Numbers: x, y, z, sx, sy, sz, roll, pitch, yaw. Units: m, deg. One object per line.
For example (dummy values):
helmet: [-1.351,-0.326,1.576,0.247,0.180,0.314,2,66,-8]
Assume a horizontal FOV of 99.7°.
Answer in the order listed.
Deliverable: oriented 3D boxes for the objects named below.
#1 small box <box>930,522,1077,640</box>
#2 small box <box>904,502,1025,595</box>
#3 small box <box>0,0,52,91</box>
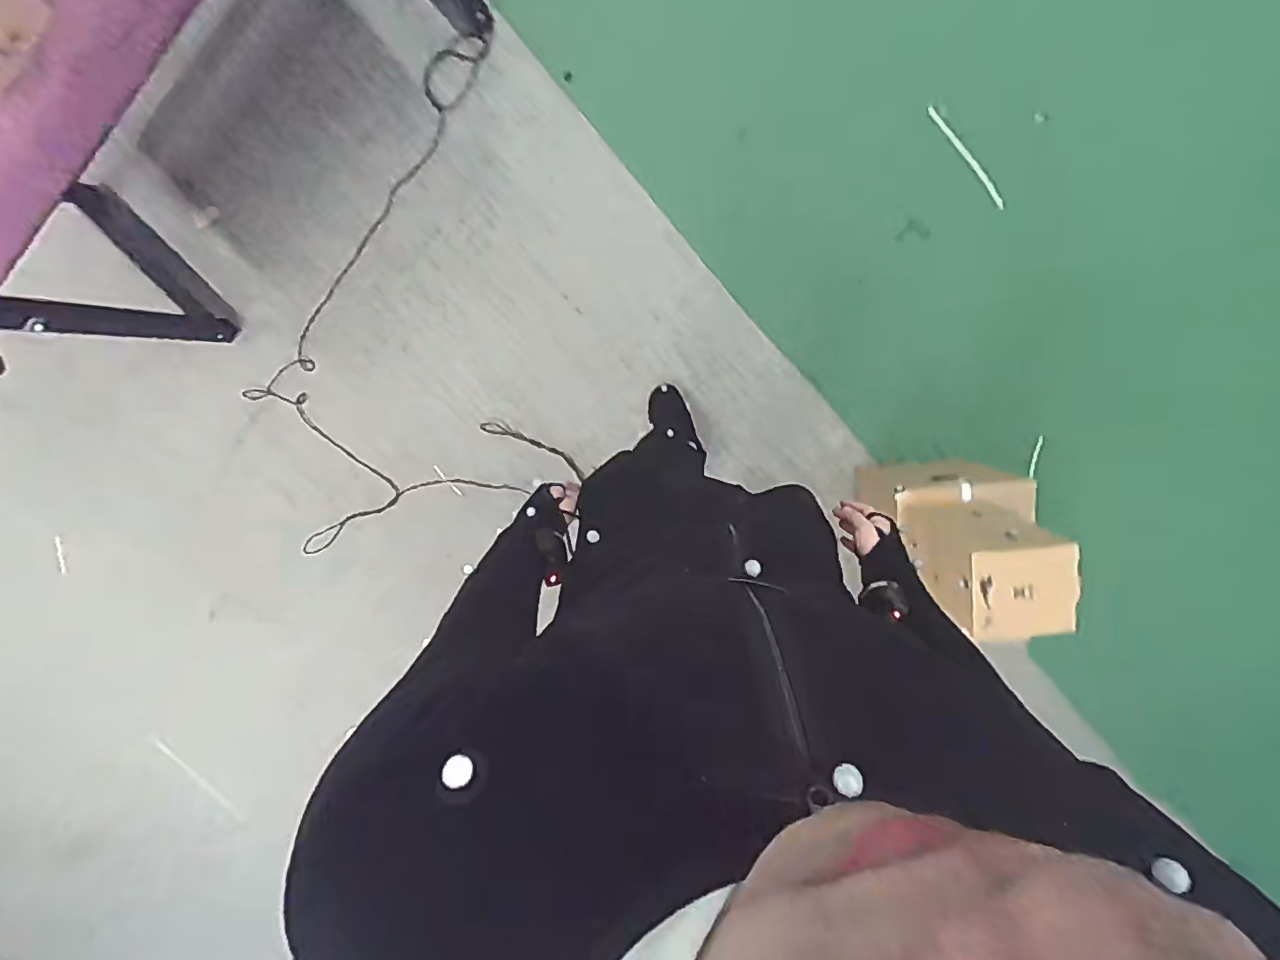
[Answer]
small box: [0.682,0.186,1.032,0.179,0.176,0.168,-6,101,6]
small box: [0.706,0.150,1.191,0.179,0.176,0.168,-5,101,7]
small box: [-0.978,-0.680,0.721,0.168,0.176,0.179,-41,95,12]
